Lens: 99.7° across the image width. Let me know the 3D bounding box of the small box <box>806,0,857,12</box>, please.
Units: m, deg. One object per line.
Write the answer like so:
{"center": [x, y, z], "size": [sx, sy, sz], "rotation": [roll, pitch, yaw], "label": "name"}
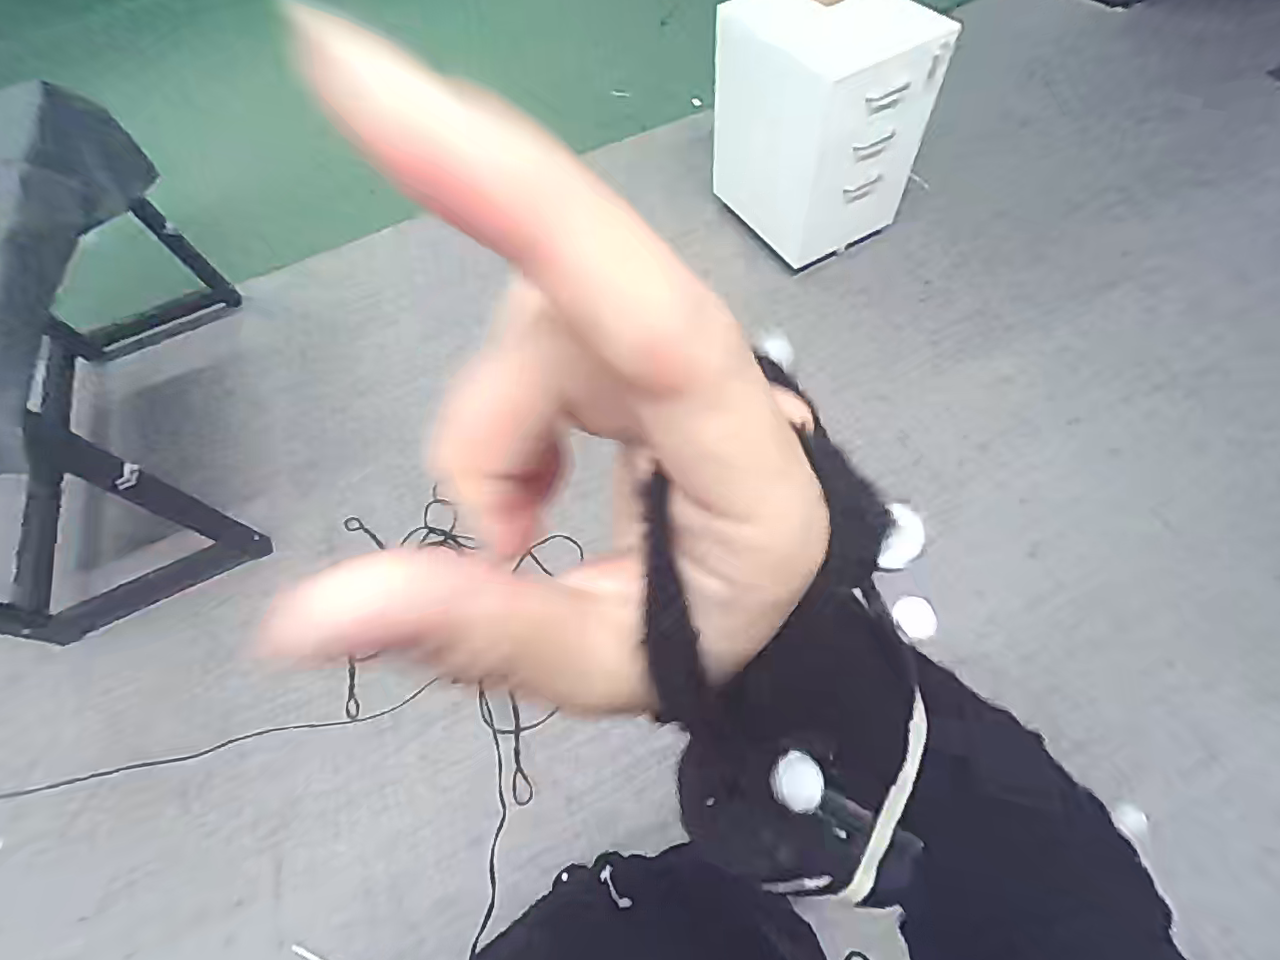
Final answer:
{"center": [0.536, -1.397, 1.434], "size": [0.179, 0.176, 0.168], "rotation": [-29, 63, -8], "label": "small box"}
